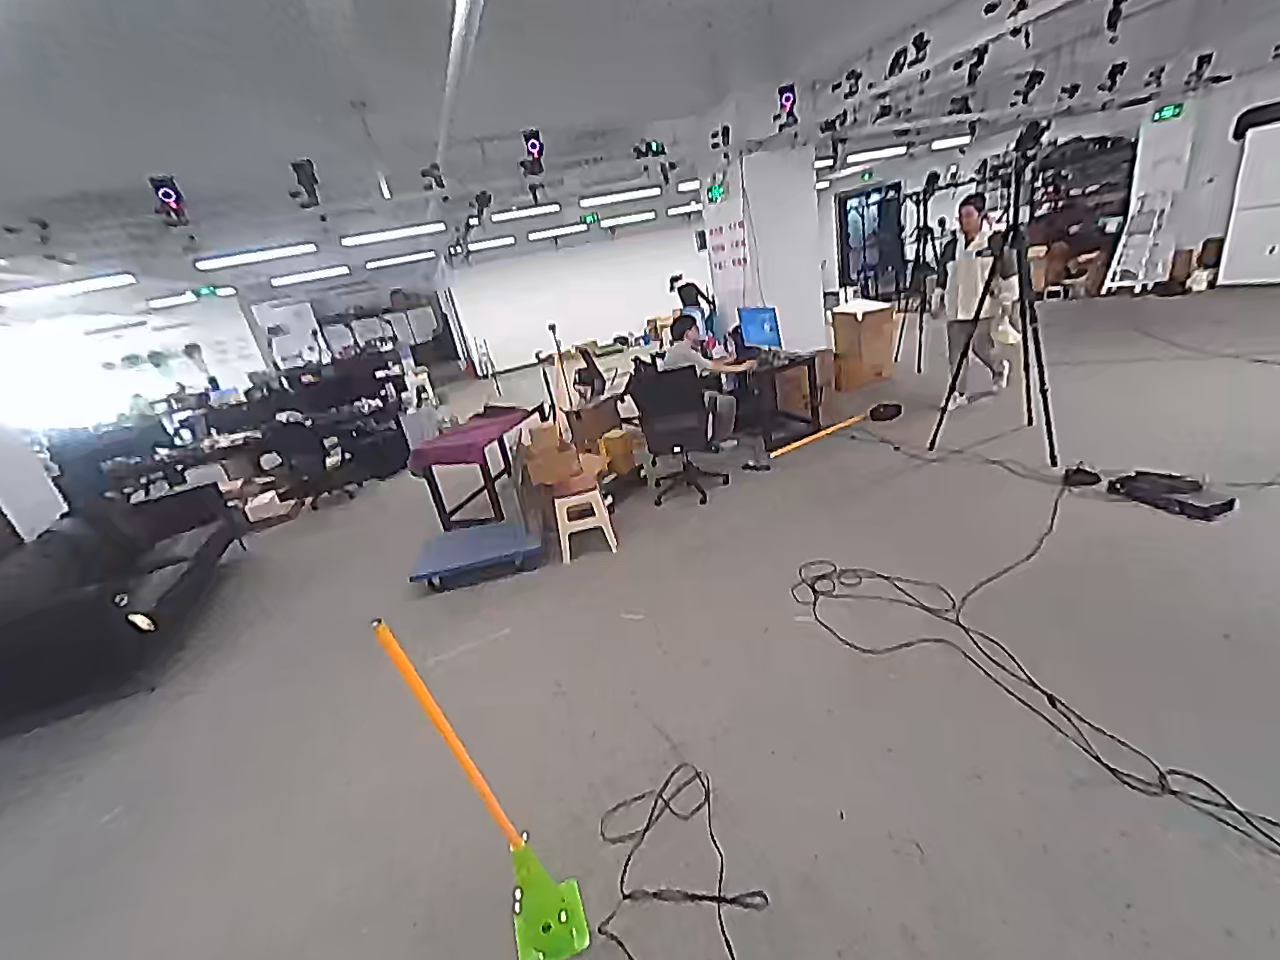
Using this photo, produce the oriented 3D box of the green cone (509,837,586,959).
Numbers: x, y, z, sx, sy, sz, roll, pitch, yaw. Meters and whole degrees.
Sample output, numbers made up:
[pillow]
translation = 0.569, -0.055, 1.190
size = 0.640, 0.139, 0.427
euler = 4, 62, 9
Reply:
[green cone]
translation = -0.295, 1.125, 1.479
size = 0.202, 0.368, 0.200
euler = -16, 22, -16
